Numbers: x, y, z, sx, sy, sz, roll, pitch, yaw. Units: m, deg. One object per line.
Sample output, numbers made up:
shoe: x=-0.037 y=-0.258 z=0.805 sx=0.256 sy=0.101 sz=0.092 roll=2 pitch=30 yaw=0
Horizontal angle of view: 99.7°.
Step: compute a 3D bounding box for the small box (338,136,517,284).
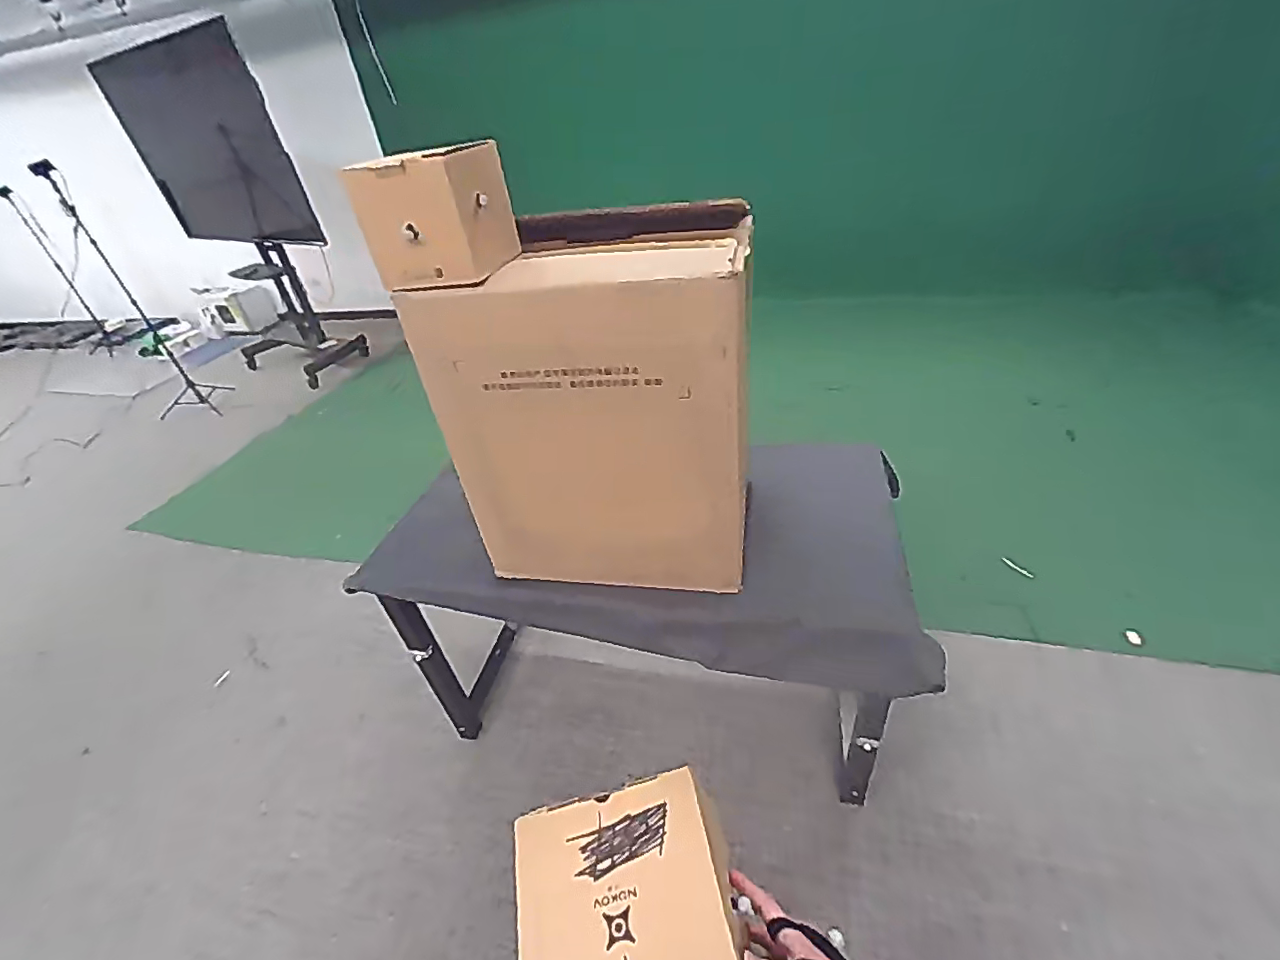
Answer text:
small box: x=-0.308 y=-0.408 z=0.831 sx=0.168 sy=0.176 sz=0.179 roll=1 pitch=38 yaw=14
